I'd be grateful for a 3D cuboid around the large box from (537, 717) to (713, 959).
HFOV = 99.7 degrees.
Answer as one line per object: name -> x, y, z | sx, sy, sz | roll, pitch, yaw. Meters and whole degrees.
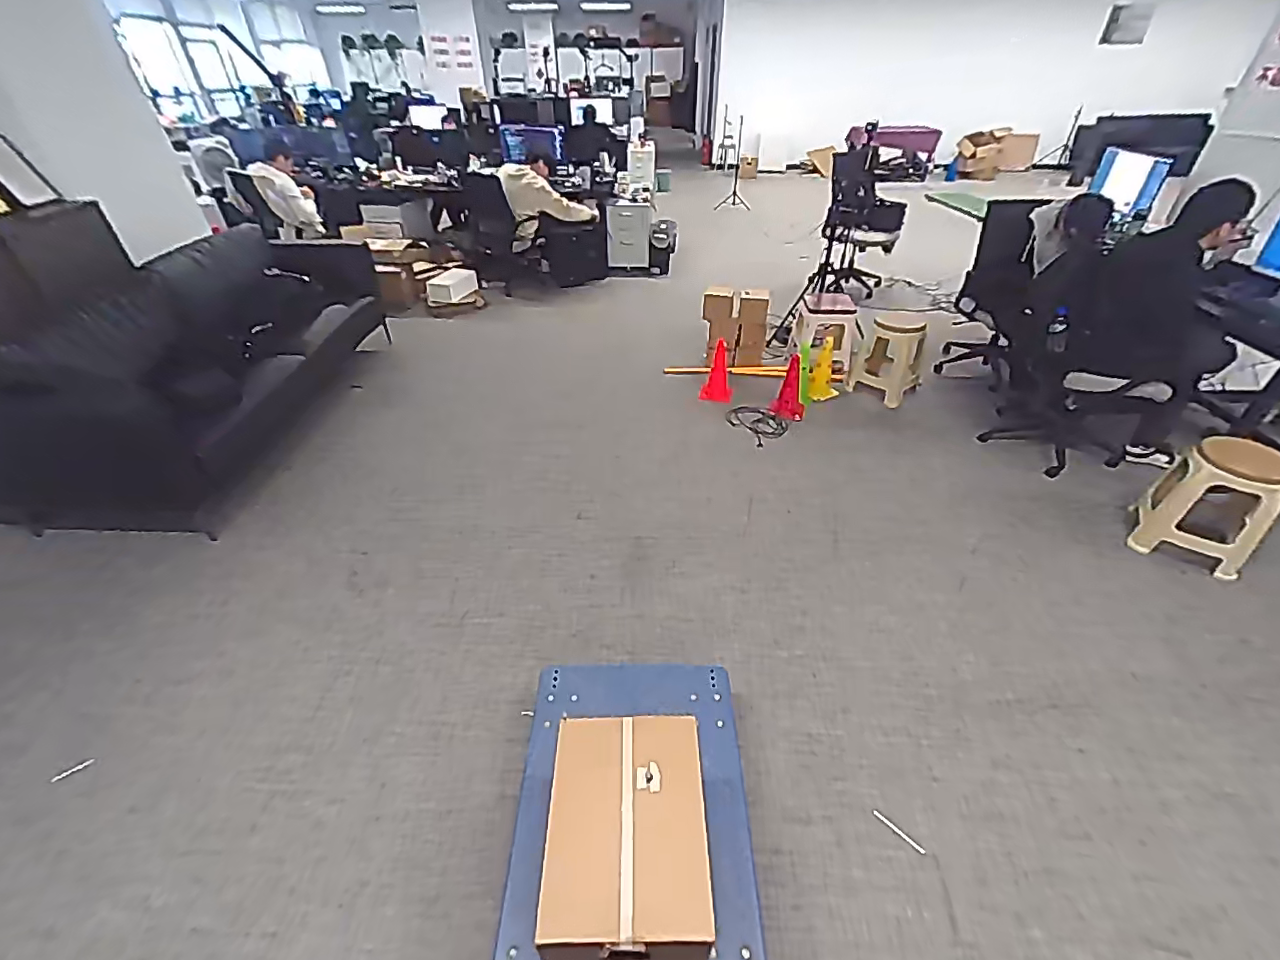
large box -> -0.027, 0.791, 1.179 | 0.320, 0.320, 0.408 | -1, 38, 0
